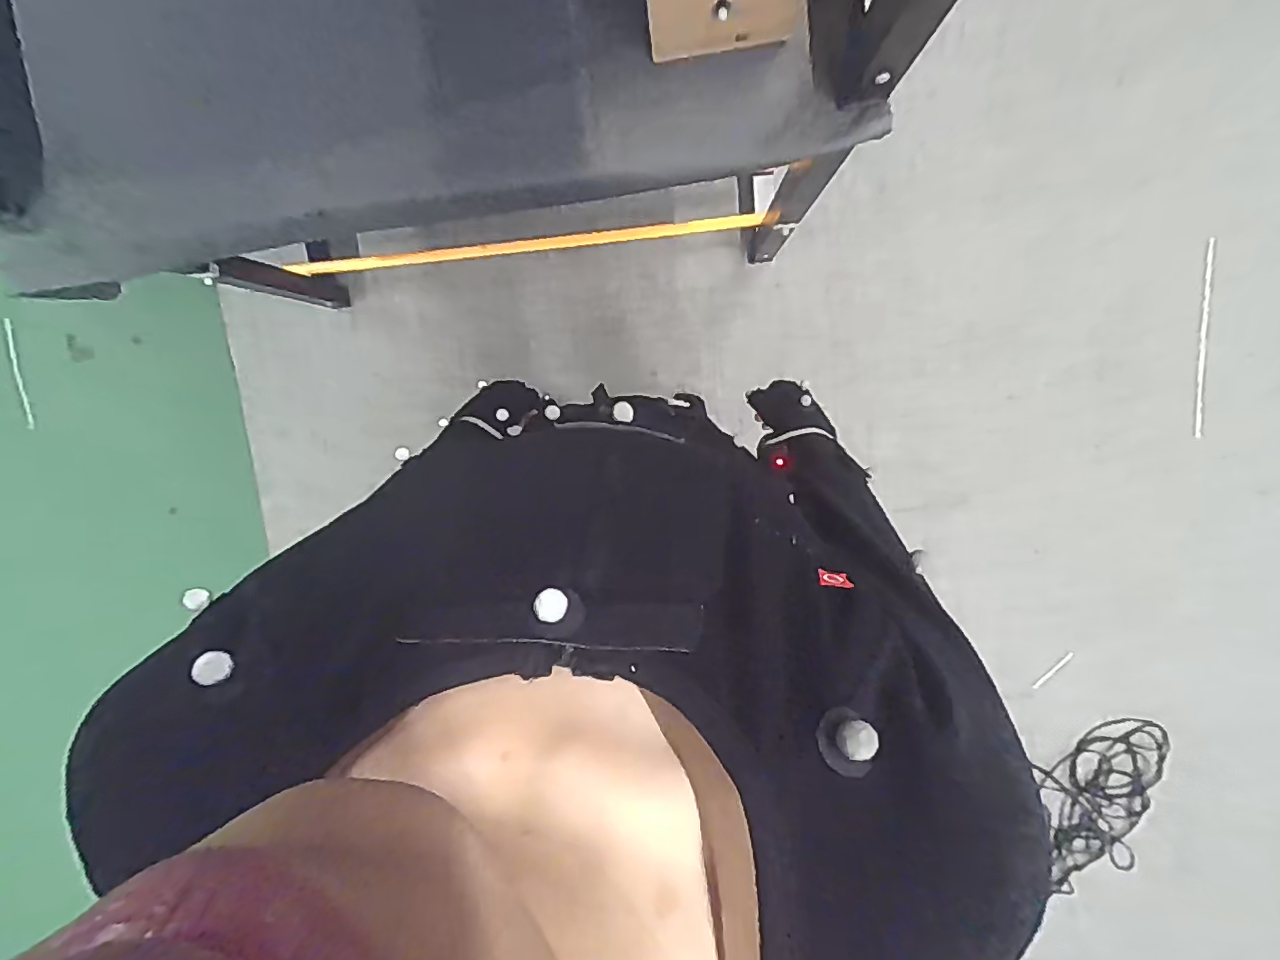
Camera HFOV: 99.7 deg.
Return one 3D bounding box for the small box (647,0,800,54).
[{"bbox_3d":[0.084,-0.580,0.555,0.168,0.176,0.179,-6,98,5],"label":"small box"}]
